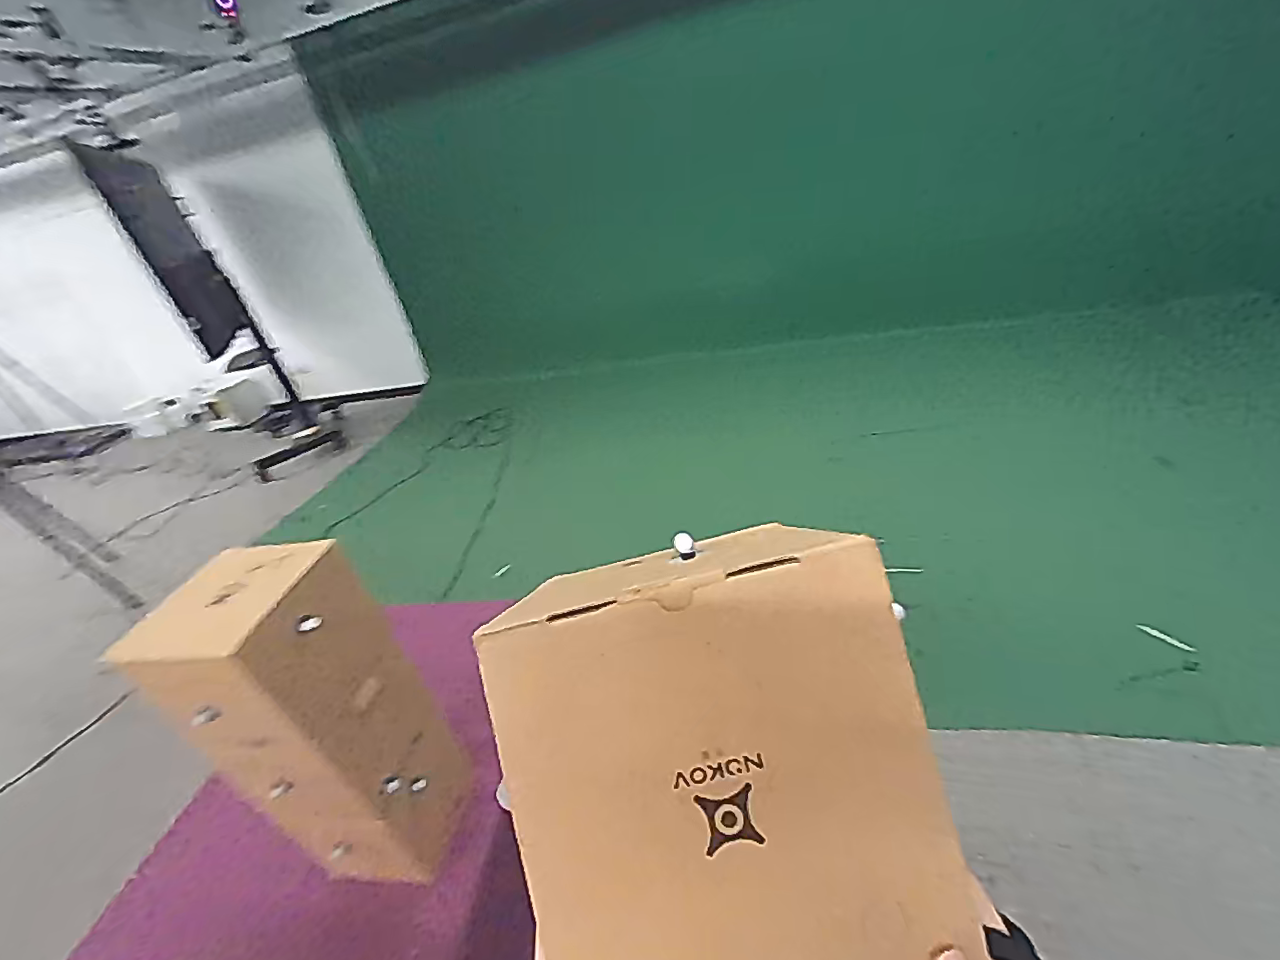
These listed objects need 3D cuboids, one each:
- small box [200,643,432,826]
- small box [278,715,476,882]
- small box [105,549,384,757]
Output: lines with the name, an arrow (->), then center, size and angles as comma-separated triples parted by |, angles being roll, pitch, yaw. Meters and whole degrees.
small box -> -0.415, 0.343, 0.733 | 0.179, 0.176, 0.168 | -7, 32, 12
small box -> -0.381, 0.479, 0.818 | 0.179, 0.176, 0.168 | -7, 34, 13
small box -> -0.444, 0.205, 0.646 | 0.168, 0.176, 0.179 | -5, 33, 12
